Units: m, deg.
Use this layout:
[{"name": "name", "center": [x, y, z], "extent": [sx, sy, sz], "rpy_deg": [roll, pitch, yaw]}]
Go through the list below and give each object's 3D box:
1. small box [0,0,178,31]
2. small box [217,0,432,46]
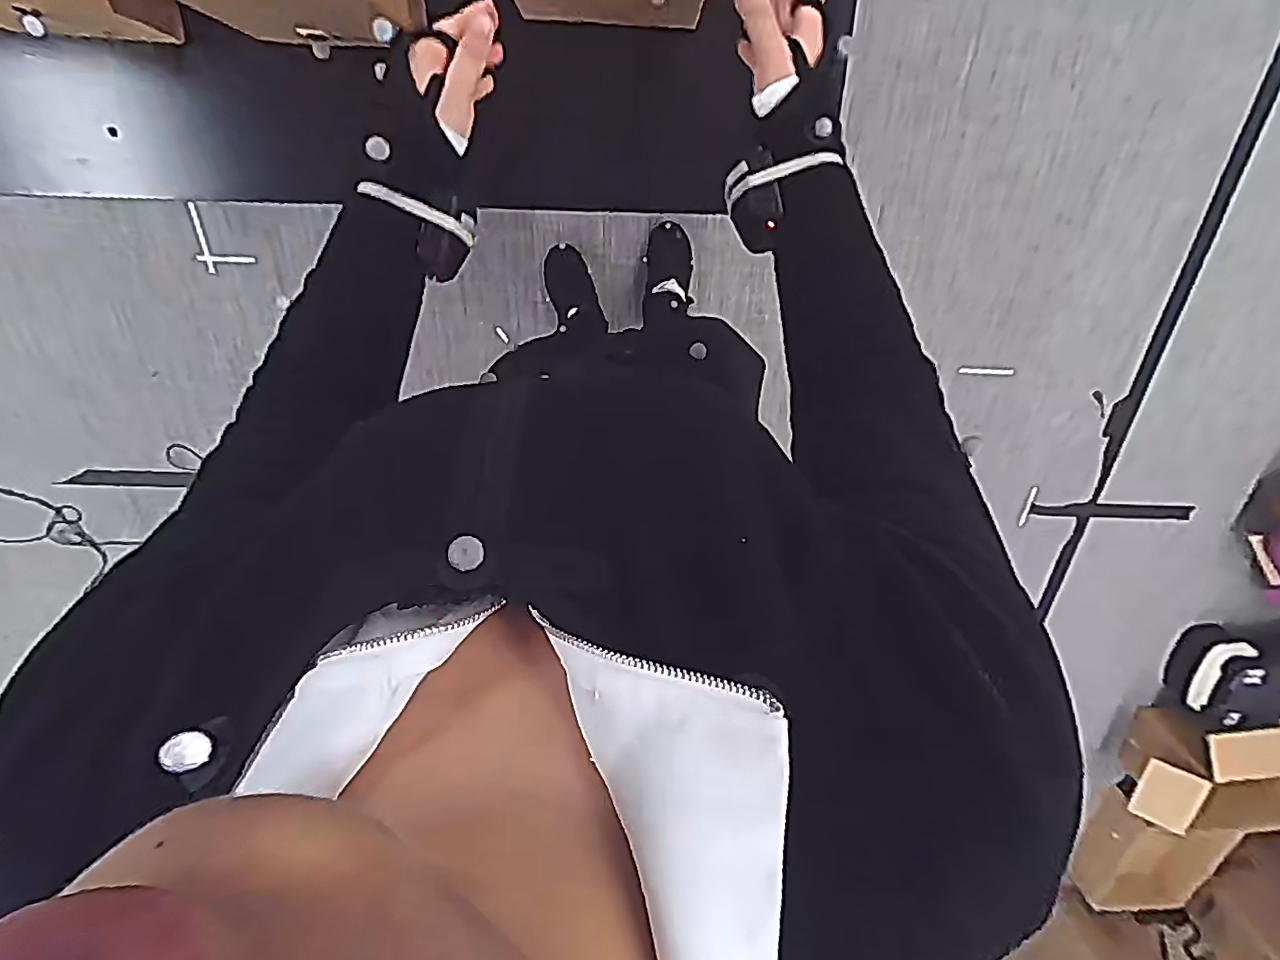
[{"name": "small box", "center": [-0.525, -0.486, 0.427], "extent": [0.168, 0.176, 0.179], "rpy_deg": [1, 117, -4]}, {"name": "small box", "center": [-0.286, -0.486, 0.438], "extent": [0.168, 0.176, 0.179], "rpy_deg": [0, 117, -1]}]
